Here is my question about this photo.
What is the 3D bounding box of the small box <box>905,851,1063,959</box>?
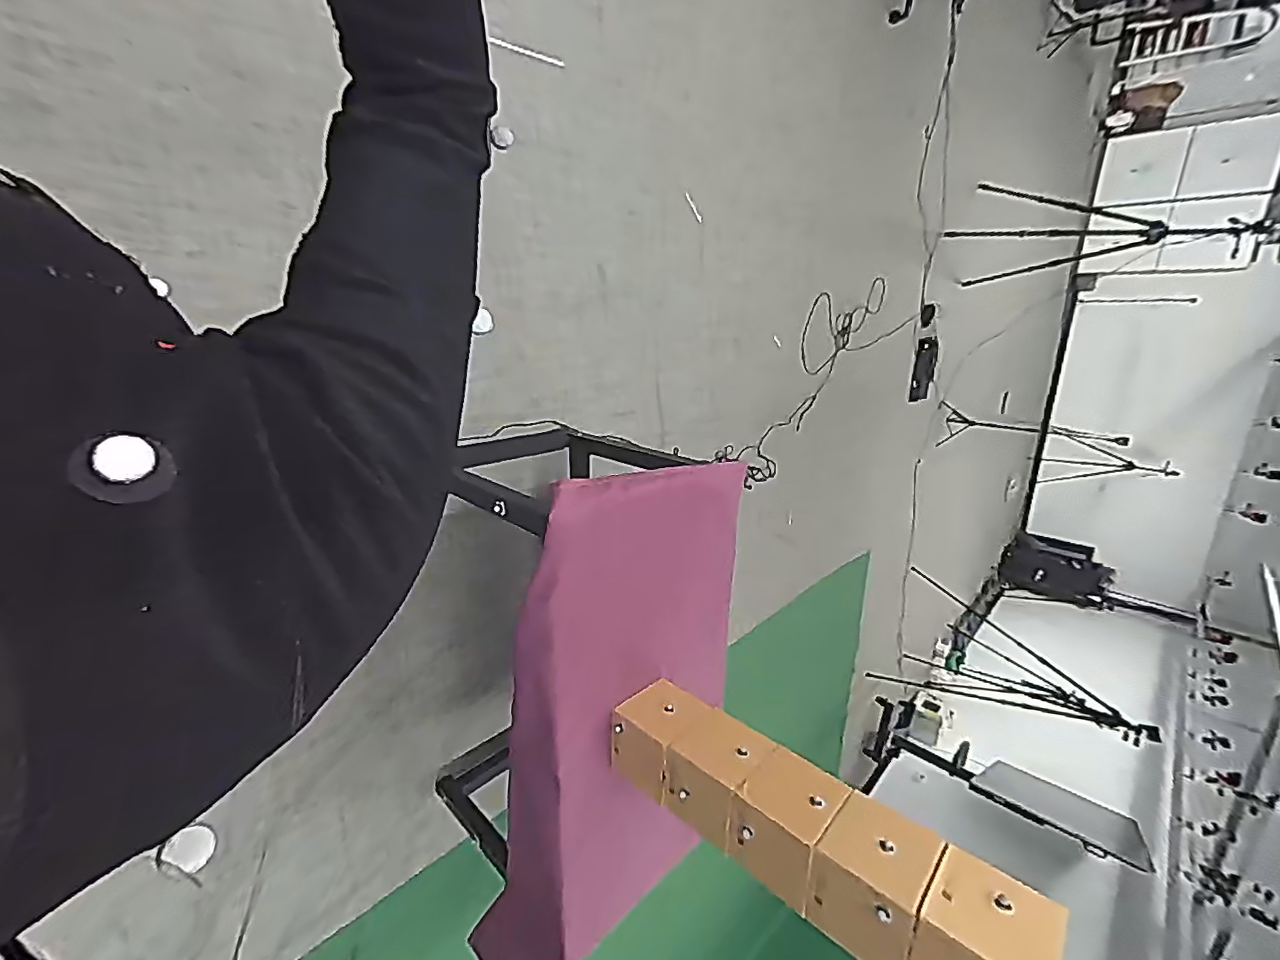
[{"bbox_3d":[0.528,0.727,0.841,0.168,0.176,0.179,-15,113,-45],"label":"small box"}]

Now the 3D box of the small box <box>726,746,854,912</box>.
[{"bbox_3d":[0.291,0.664,1.056,0.179,0.176,0.168,-14,111,-44],"label":"small box"}]

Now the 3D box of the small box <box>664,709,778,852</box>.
[{"bbox_3d":[0.172,0.630,1.162,0.179,0.176,0.168,-14,111,-43],"label":"small box"}]

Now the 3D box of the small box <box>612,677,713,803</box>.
[{"bbox_3d":[0.050,0.598,1.267,0.179,0.176,0.168,-14,112,-44],"label":"small box"}]
